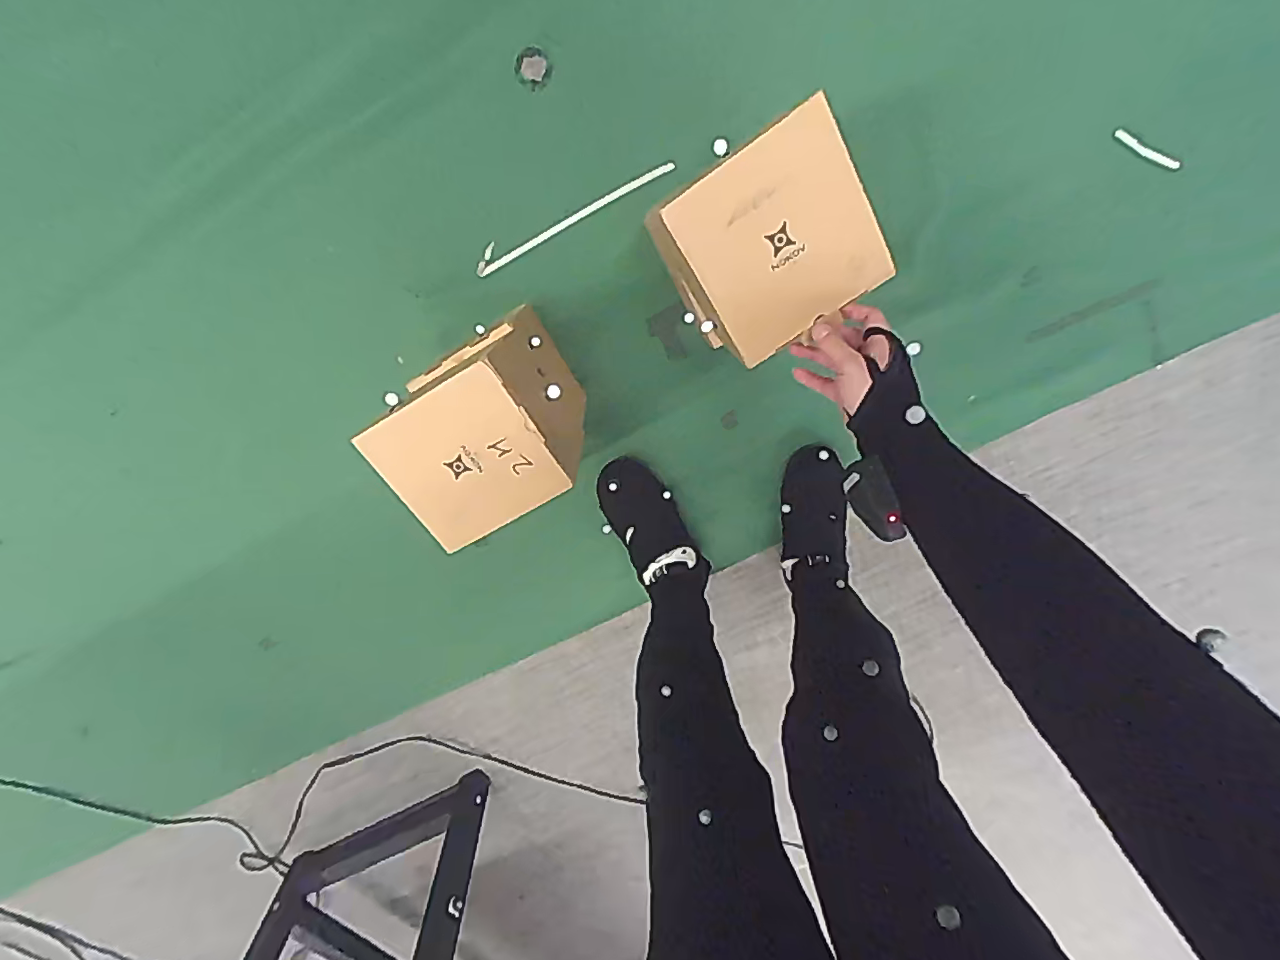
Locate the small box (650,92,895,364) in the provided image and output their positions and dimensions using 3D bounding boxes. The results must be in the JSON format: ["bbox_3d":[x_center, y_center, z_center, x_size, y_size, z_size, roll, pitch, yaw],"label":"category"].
[{"bbox_3d":[0.126,-0.255,0.567,0.168,0.176,0.179,-32,113,11],"label":"small box"}]

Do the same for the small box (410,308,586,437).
[{"bbox_3d":[-0.192,-0.129,0.794,0.168,0.176,0.179,-28,112,11],"label":"small box"}]

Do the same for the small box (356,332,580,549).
[{"bbox_3d":[-0.186,-0.055,0.648,0.179,0.176,0.168,-28,113,10],"label":"small box"}]
